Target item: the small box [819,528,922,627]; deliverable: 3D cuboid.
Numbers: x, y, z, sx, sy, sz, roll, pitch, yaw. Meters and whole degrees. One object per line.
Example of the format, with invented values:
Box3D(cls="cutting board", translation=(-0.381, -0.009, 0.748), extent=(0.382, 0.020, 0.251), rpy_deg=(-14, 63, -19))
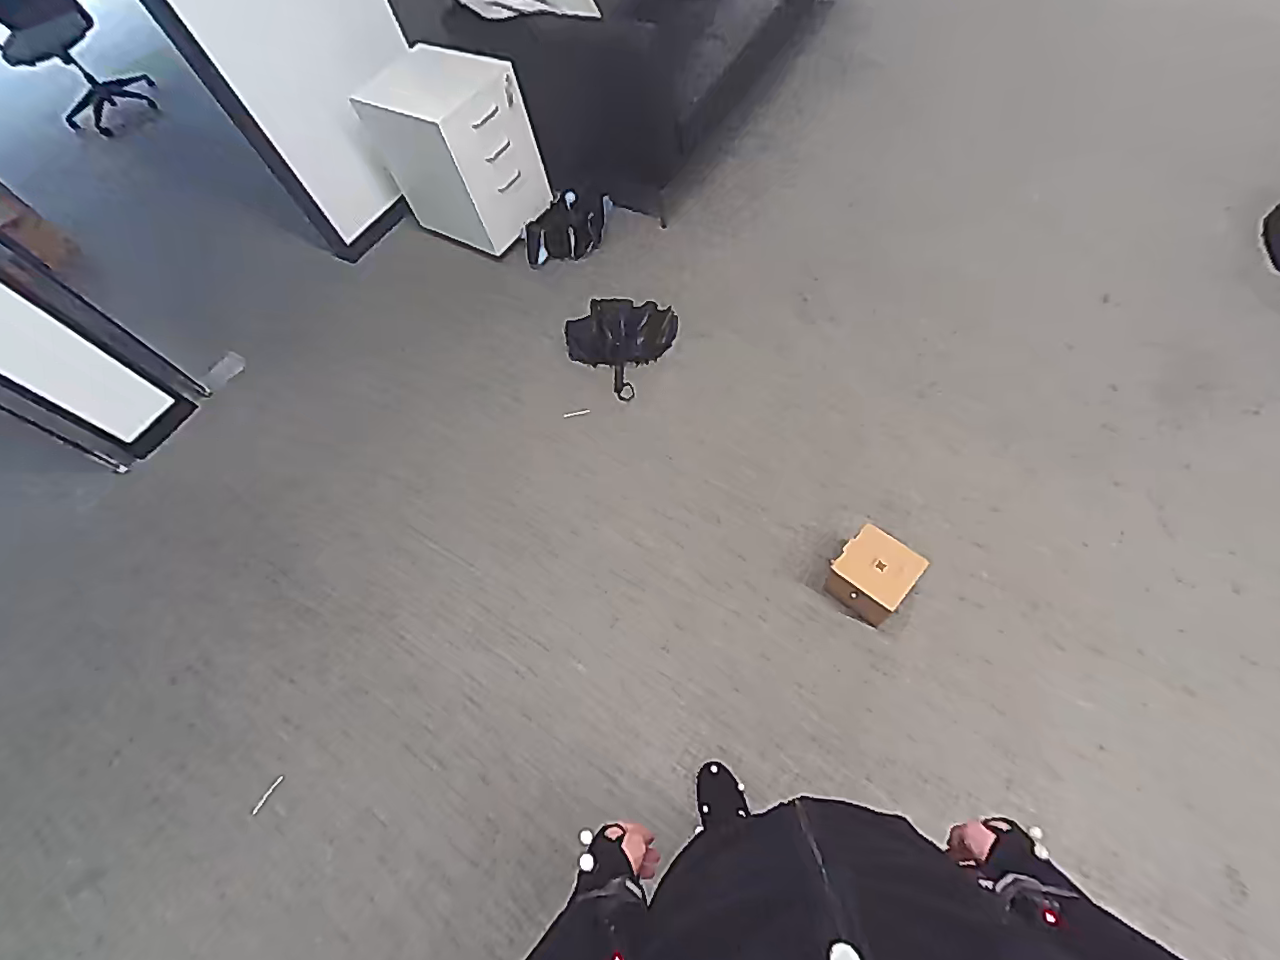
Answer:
Box3D(cls="small box", translation=(0.599, 0.264, 1.430), extent=(0.179, 0.176, 0.168), rpy_deg=(38, 74, 24))
